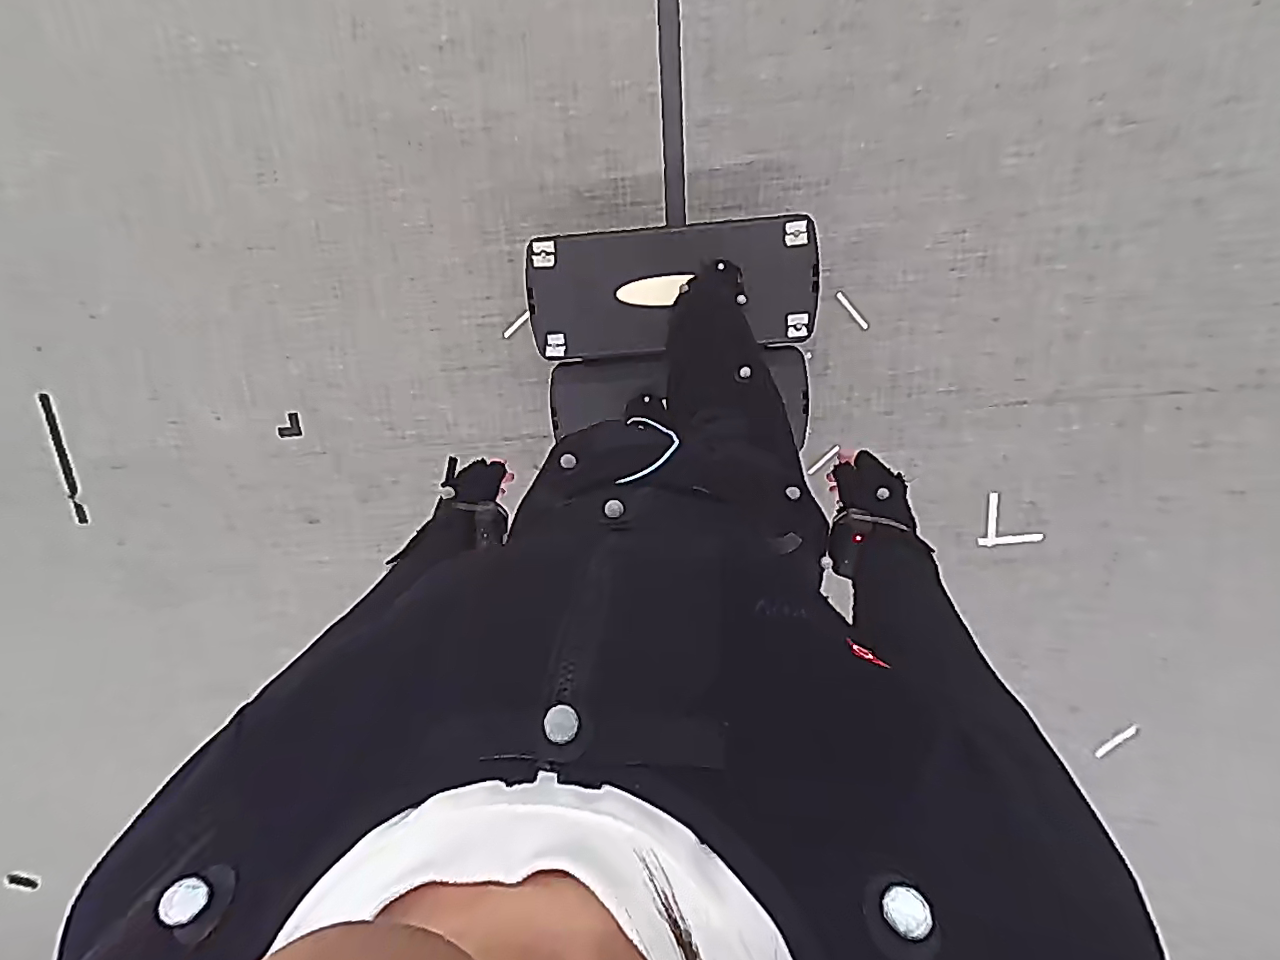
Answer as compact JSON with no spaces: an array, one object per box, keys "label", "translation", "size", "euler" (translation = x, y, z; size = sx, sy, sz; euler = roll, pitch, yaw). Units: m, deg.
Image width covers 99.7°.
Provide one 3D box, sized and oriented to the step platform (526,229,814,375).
[{"label":"step platform","translation":[0.068,-0.428,1.324],"size":[0.684,0.204,0.286],"euler":[-4,106,3]}]
